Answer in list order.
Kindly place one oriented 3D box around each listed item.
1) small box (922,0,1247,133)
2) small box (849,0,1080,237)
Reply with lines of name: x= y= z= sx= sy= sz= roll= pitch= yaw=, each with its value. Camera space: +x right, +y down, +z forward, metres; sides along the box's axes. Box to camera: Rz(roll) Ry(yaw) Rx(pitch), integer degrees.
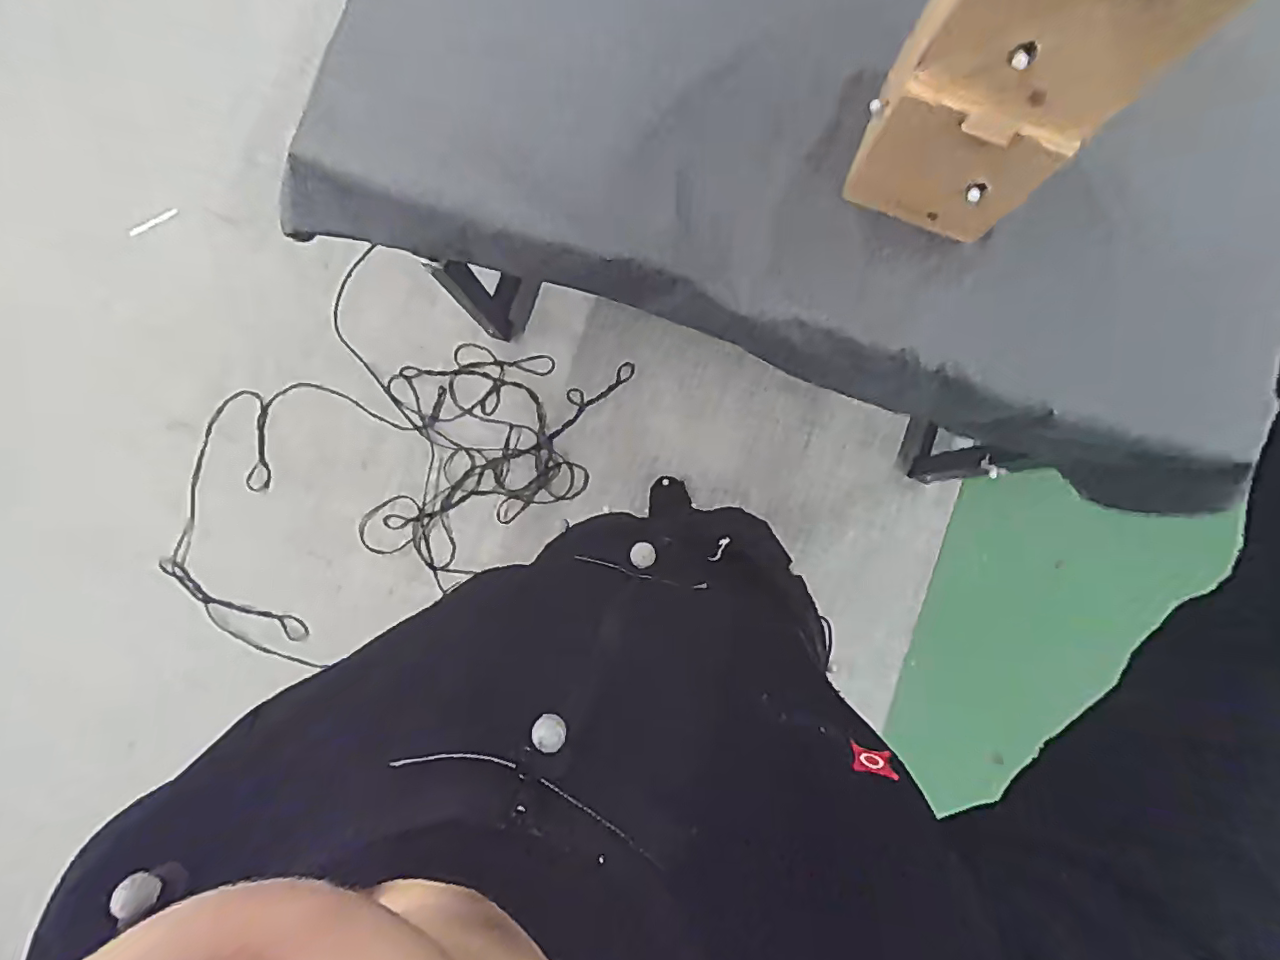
small box: x=0.352 y=-0.418 z=0.411 sx=0.168 sy=0.176 sz=0.179 roll=22 pitch=88 yaw=1
small box: x=0.345 y=-0.394 z=0.572 sx=0.168 sy=0.176 sz=0.179 roll=21 pitch=86 yaw=2
